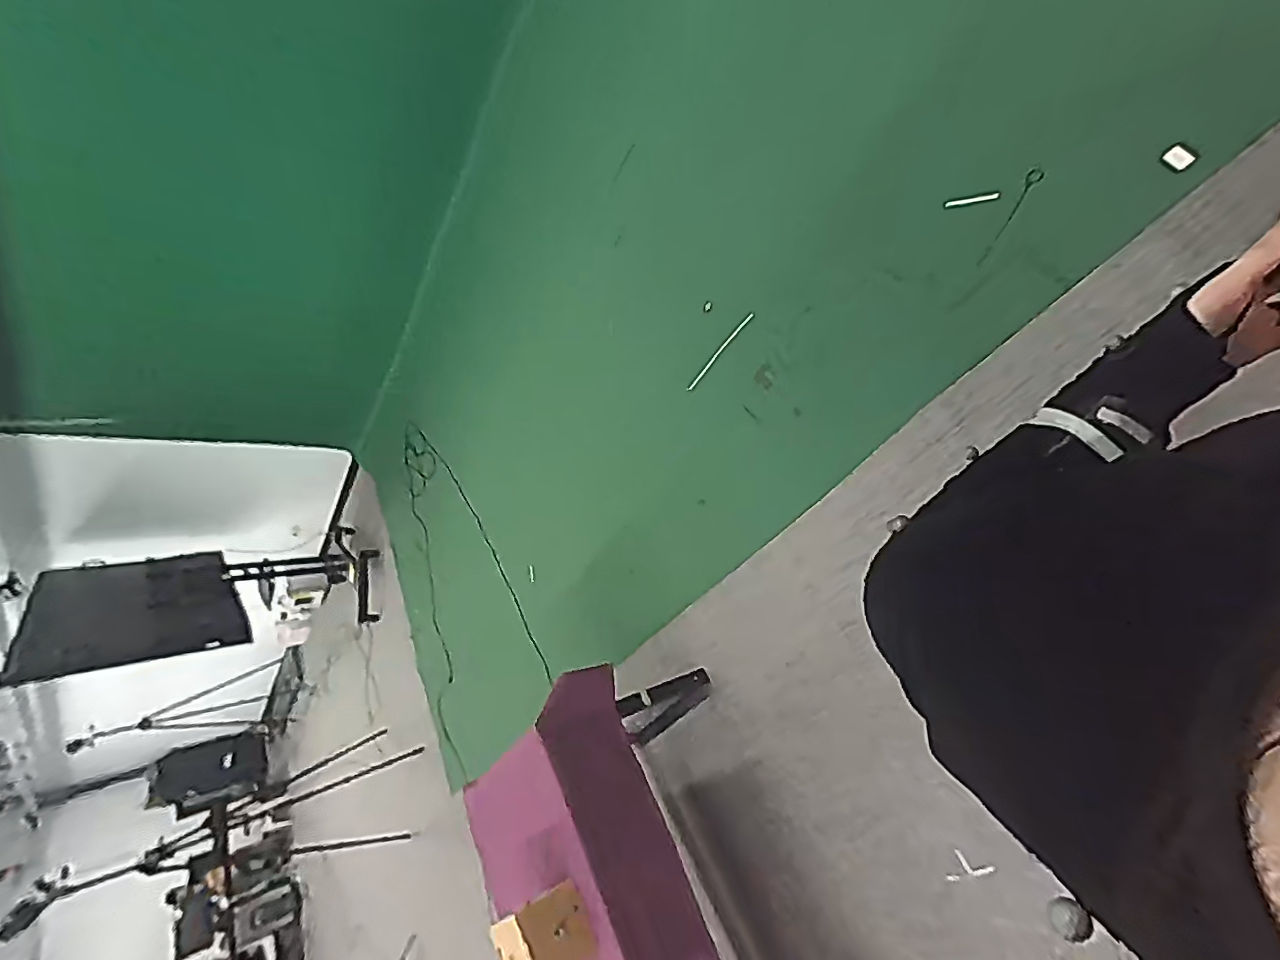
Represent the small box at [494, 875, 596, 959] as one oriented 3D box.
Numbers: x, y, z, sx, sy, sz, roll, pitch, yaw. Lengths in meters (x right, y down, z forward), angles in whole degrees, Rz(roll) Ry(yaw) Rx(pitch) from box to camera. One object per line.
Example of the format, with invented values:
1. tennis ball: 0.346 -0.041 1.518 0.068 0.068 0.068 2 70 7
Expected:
1. small box: -0.231 1.122 1.342 0.179 0.176 0.168 -51 56 34
